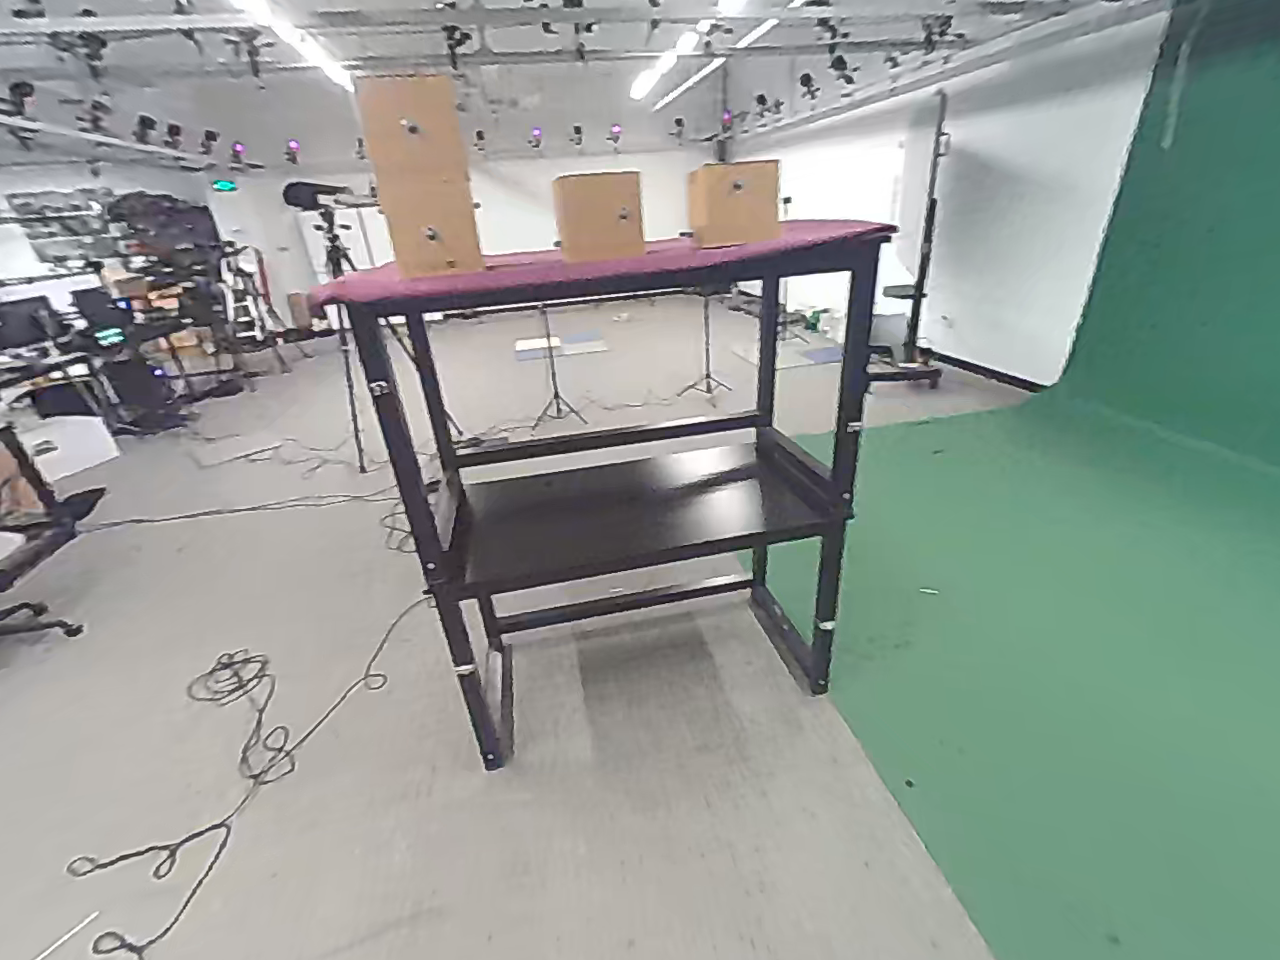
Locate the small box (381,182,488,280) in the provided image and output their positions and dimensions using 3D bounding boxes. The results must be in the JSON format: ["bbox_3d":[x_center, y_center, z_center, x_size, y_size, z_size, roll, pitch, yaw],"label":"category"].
[{"bbox_3d":[-0.413,-0.512,1.118,0.168,0.176,0.179,-9,27,-11],"label":"small box"}]

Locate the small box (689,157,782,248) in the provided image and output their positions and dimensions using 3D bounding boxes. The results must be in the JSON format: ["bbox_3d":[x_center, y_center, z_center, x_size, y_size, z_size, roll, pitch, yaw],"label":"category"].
[{"bbox_3d":[0.223,-0.643,1.268,0.179,0.176,0.168,-9,25,-7],"label":"small box"}]

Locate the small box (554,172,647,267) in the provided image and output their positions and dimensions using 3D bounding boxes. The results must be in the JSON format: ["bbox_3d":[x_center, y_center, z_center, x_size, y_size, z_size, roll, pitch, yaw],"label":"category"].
[{"bbox_3d":[-0.086,-0.577,1.199,0.179,0.176,0.168,-11,27,-9],"label":"small box"}]
